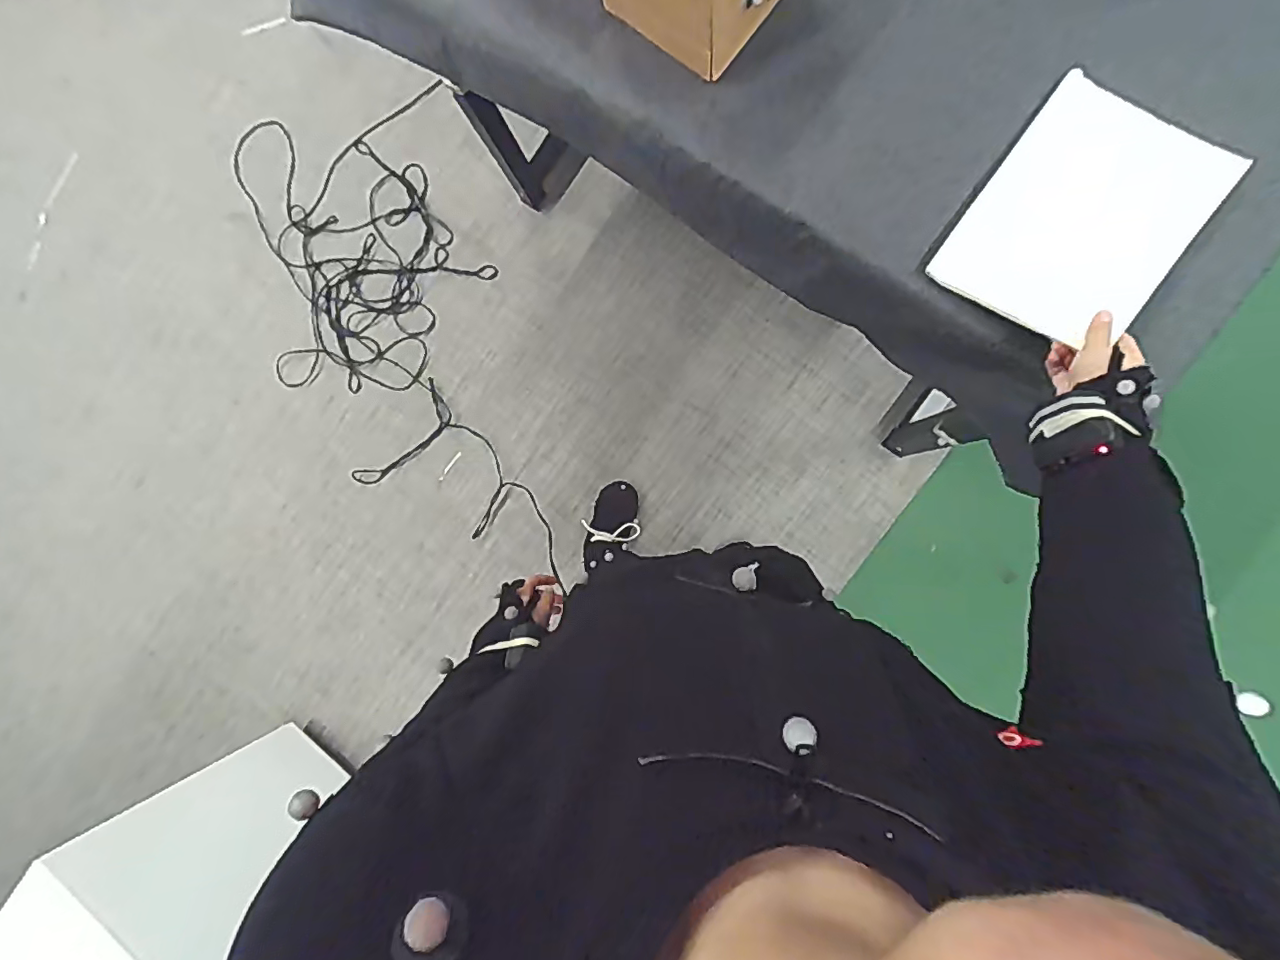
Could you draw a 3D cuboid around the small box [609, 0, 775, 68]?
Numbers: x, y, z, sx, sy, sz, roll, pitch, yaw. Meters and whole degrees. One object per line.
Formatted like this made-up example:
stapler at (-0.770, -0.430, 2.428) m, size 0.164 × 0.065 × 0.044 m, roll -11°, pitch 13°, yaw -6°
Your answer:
small box at (0.060, -0.593, 0.566) m, size 0.179 × 0.176 × 0.168 m, roll 40°, pitch 93°, yaw 6°
